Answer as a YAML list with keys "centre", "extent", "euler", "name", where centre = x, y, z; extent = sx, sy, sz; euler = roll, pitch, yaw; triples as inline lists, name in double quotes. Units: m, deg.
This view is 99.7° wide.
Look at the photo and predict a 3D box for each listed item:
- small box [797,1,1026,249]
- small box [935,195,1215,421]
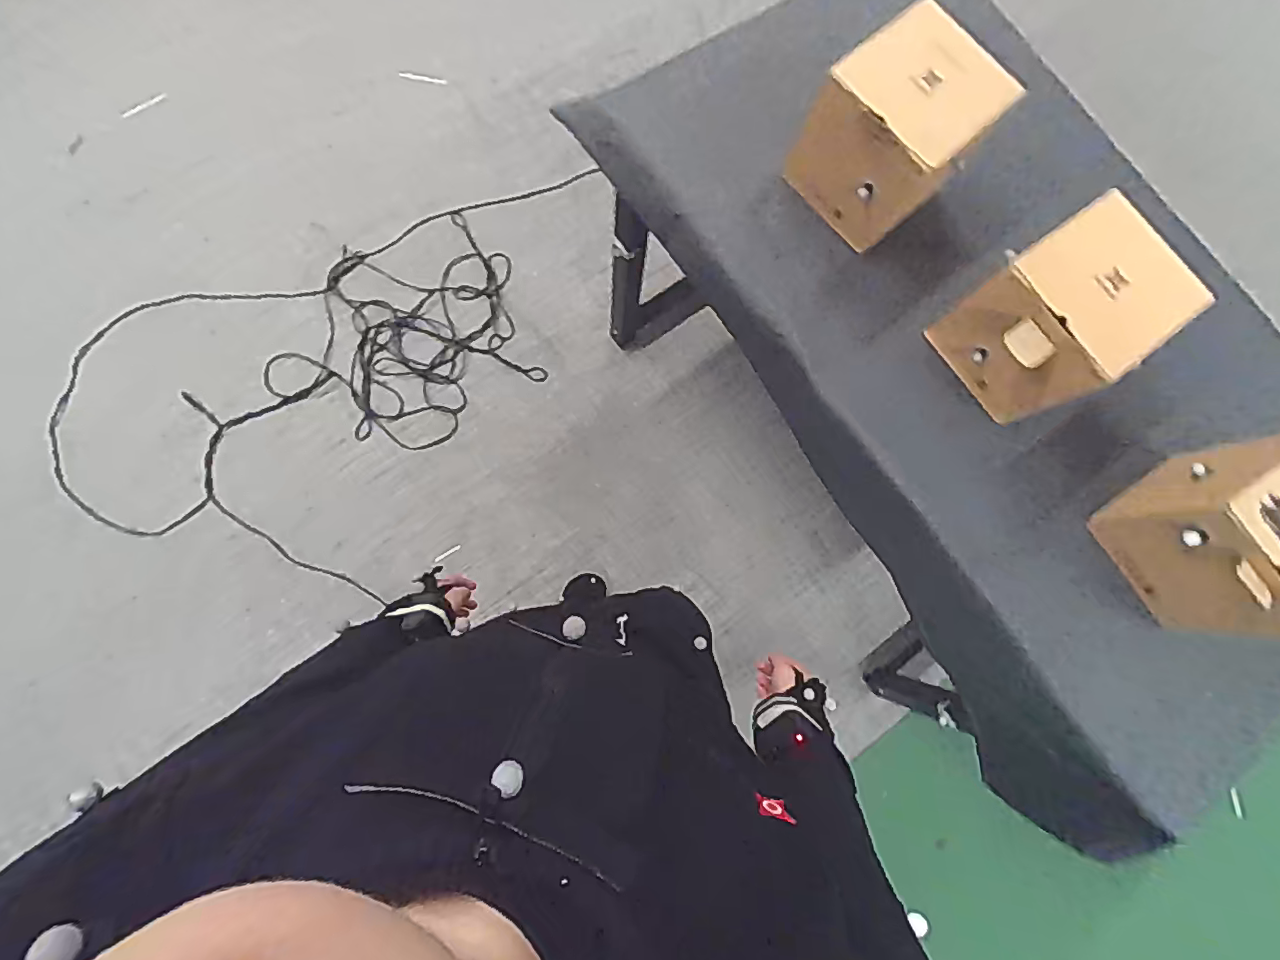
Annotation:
- centre: [0.330, -0.442, 0.701]
  extent: [0.179, 0.176, 0.168]
  euler: [-41, 87, -11]
  name: "small box"
- centre: [0.519, -0.200, 0.672]
  extent: [0.179, 0.176, 0.168]
  euler: [-35, 85, -9]
  name: "small box"
